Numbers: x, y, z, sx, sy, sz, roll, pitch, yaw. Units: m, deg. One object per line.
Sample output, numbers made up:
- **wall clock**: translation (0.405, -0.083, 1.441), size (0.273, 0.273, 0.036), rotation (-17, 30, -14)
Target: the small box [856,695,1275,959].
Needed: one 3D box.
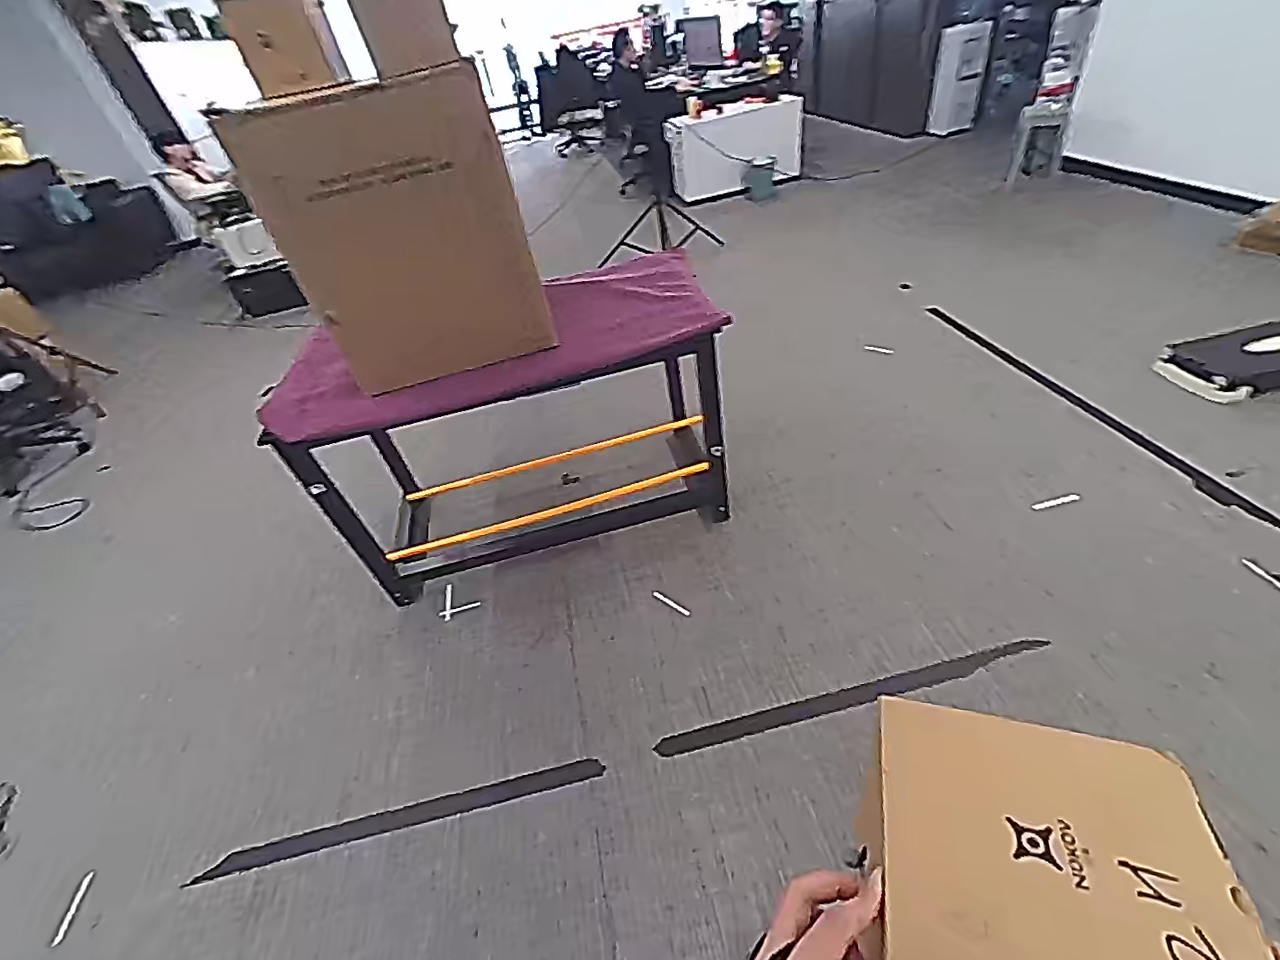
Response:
- **small box**: translation (0.237, 0.274, 0.347), size (0.179, 0.176, 0.168), rotation (5, 34, 19)

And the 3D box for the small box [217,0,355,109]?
- **small box**: translation (-0.744, -0.917, 1.162), size (0.168, 0.176, 0.179), rotation (-14, 41, -2)

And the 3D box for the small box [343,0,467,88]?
- **small box**: translation (-0.457, -0.887, 1.056), size (0.179, 0.176, 0.168), rotation (-19, 42, -5)
